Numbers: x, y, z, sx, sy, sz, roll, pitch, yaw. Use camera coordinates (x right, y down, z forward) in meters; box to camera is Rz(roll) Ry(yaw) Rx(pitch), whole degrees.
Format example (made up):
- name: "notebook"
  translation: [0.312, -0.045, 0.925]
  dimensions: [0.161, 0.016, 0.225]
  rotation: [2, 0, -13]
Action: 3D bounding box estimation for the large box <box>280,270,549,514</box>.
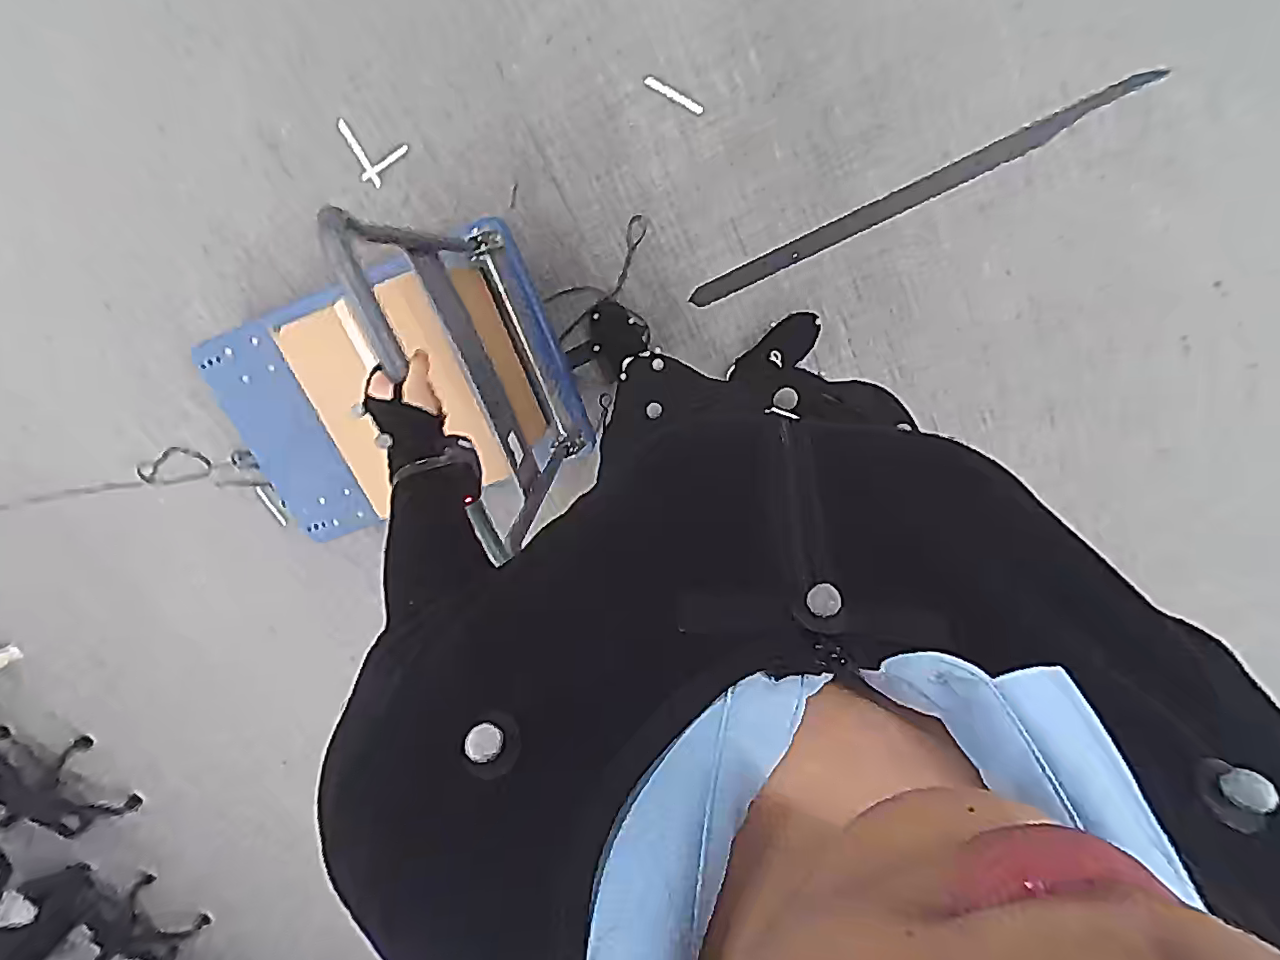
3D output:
- name: "large box"
  translation: [-0.444, -0.199, 1.169]
  dimensions: [0.320, 0.320, 0.408]
  rotation: [-18, 109, 11]
